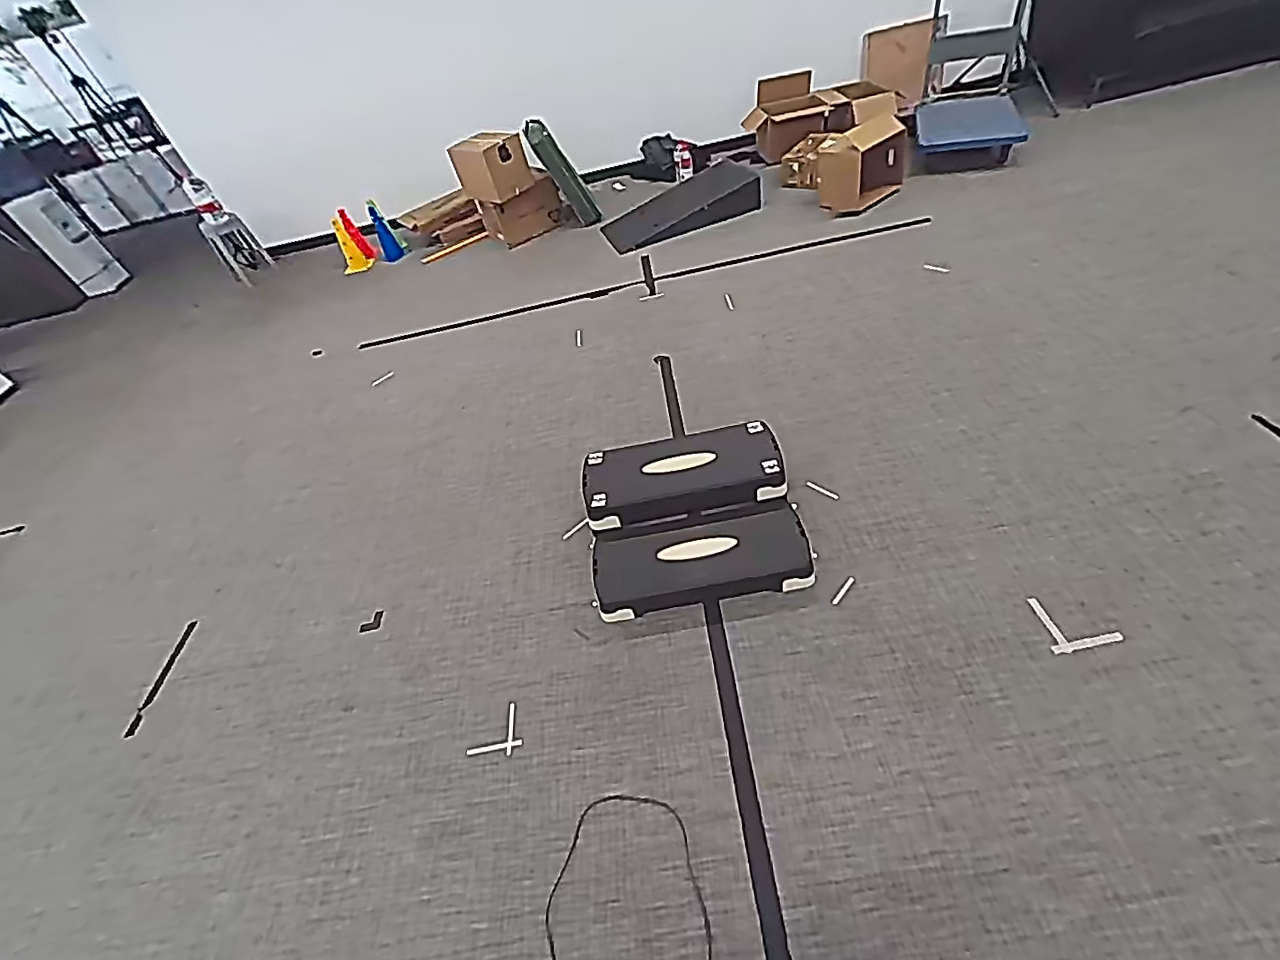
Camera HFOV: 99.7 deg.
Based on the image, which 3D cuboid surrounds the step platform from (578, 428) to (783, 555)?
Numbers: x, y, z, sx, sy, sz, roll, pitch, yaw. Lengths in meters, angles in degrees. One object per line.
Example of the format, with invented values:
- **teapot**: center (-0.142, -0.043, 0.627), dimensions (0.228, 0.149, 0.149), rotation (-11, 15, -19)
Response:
- **step platform**: center (0.131, 0.035, 1.847), dimensions (0.684, 0.204, 0.286), rotation (-11, 46, 2)
